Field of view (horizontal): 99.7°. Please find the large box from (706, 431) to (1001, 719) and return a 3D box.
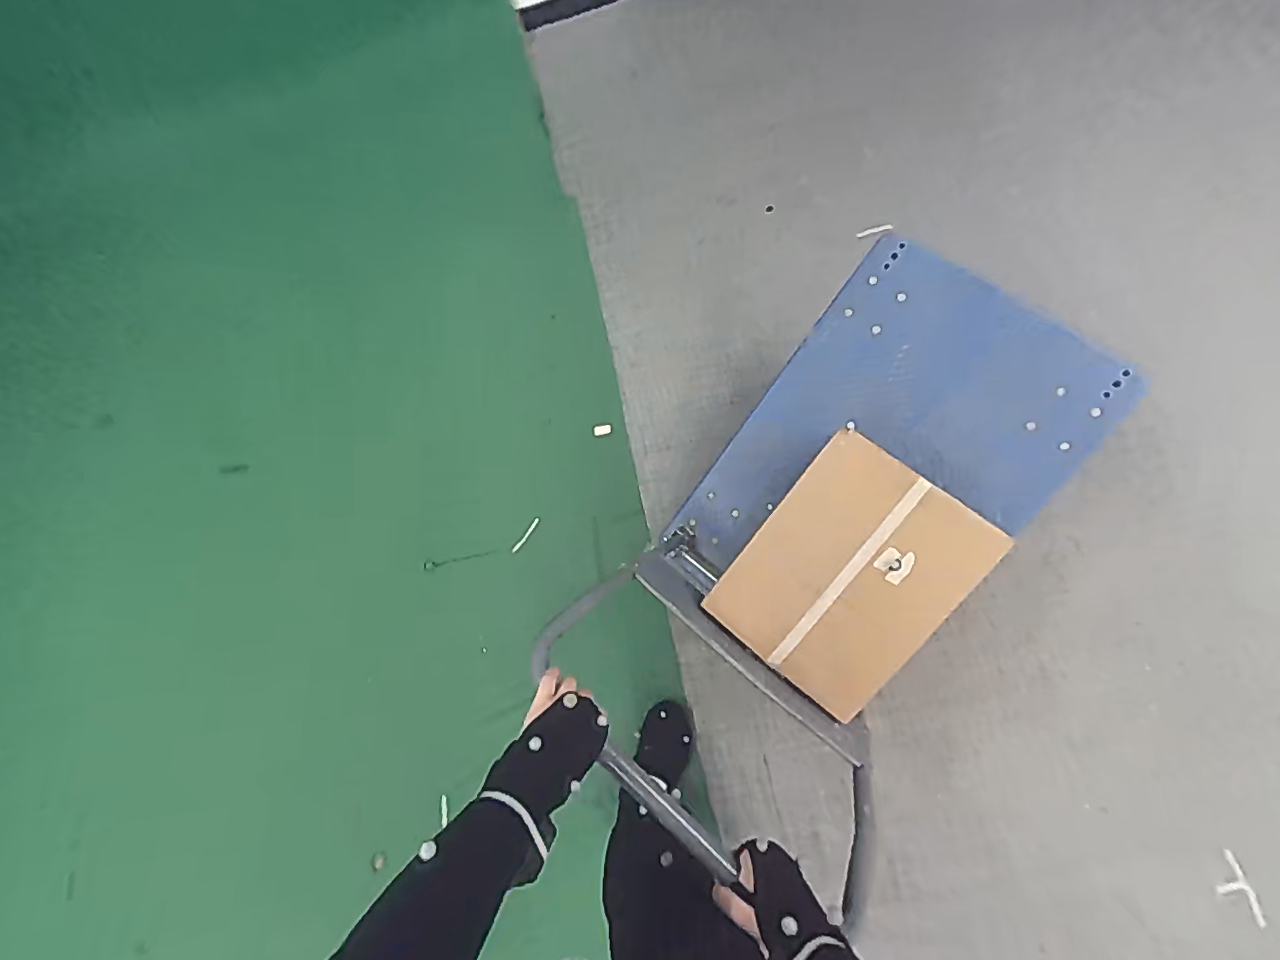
[{"bbox_3d":[0.390,0.163,1.063,0.320,0.320,0.408,39,102,13],"label":"large box"}]
